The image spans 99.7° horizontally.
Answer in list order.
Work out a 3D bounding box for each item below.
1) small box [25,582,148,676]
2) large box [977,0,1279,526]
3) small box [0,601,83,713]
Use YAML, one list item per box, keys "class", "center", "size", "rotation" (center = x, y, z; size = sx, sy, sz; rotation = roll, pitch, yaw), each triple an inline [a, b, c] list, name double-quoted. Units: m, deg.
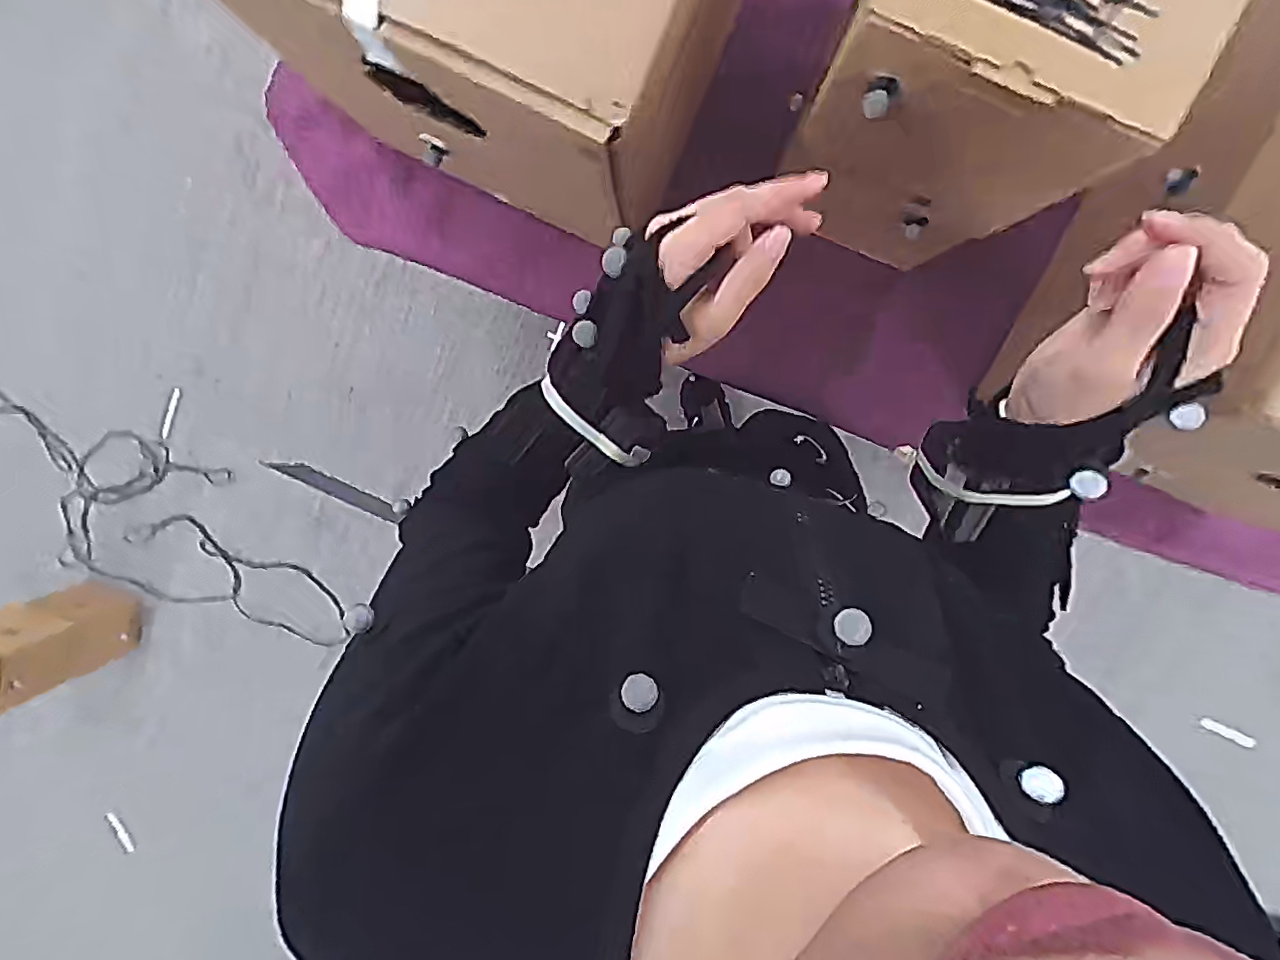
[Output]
- class: "small box"
  center: [-1.503, 0.393, 1.465]
  size: [0.179, 0.176, 0.168]
  rotation: [17, 101, 0]
- class: "large box"
  center: [0.574, -0.177, 0.429]
  size: [0.320, 0.320, 0.408]
  rotation: [23, 99, -1]
- class: "small box"
  center: [-1.514, 0.417, 1.305]
  size: [0.168, 0.176, 0.179]
  rotation: [19, 102, 0]
